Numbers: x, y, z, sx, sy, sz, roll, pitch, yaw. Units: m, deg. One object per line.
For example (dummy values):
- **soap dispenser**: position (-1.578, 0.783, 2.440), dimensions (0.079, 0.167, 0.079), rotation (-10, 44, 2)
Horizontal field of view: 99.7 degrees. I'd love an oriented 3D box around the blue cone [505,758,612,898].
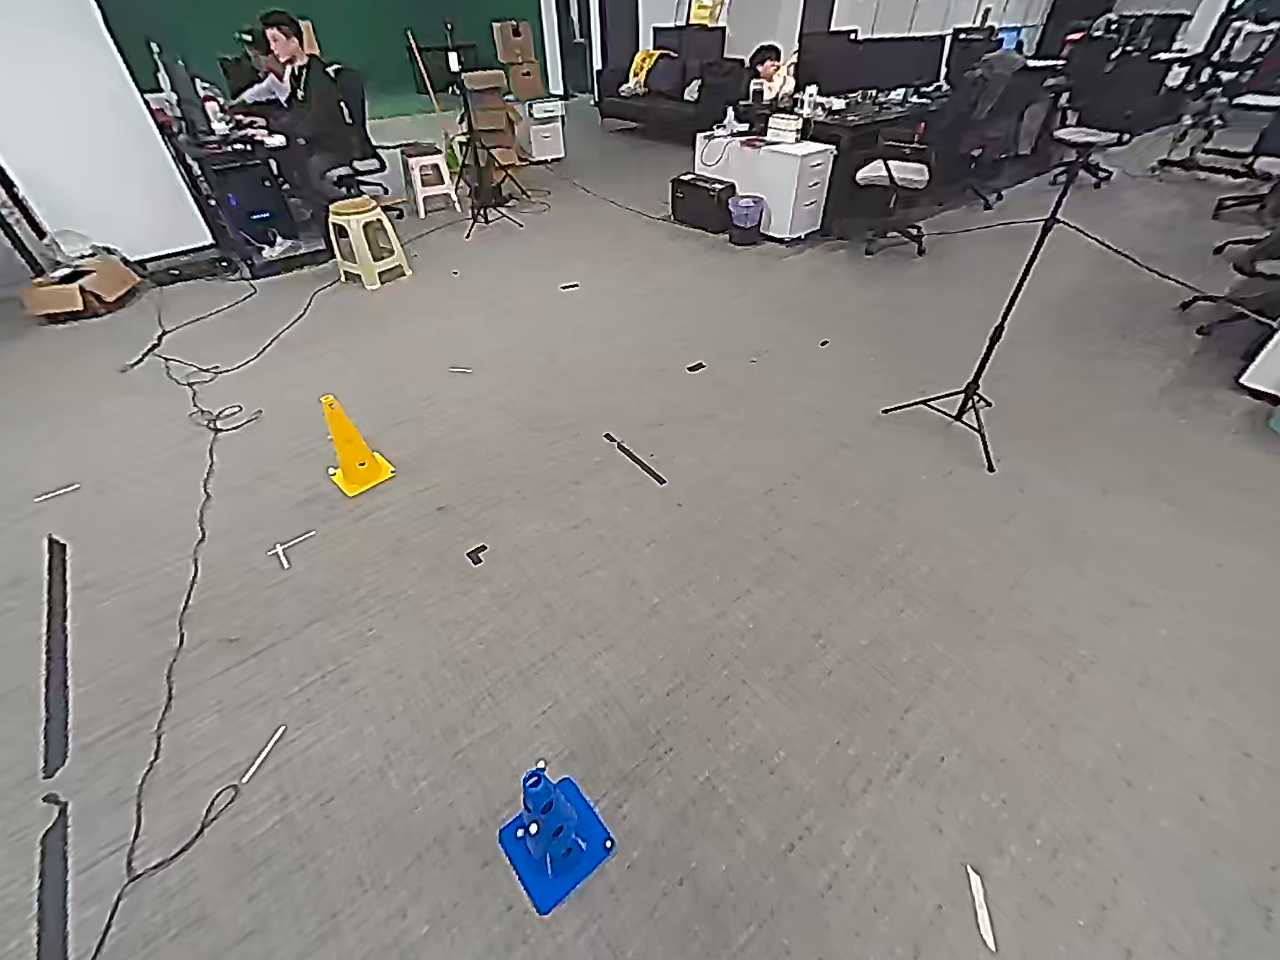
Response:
- **blue cone**: position (-0.185, 0.663, 1.091), dimensions (0.192, 0.380, 0.193), rotation (-27, 48, -28)
